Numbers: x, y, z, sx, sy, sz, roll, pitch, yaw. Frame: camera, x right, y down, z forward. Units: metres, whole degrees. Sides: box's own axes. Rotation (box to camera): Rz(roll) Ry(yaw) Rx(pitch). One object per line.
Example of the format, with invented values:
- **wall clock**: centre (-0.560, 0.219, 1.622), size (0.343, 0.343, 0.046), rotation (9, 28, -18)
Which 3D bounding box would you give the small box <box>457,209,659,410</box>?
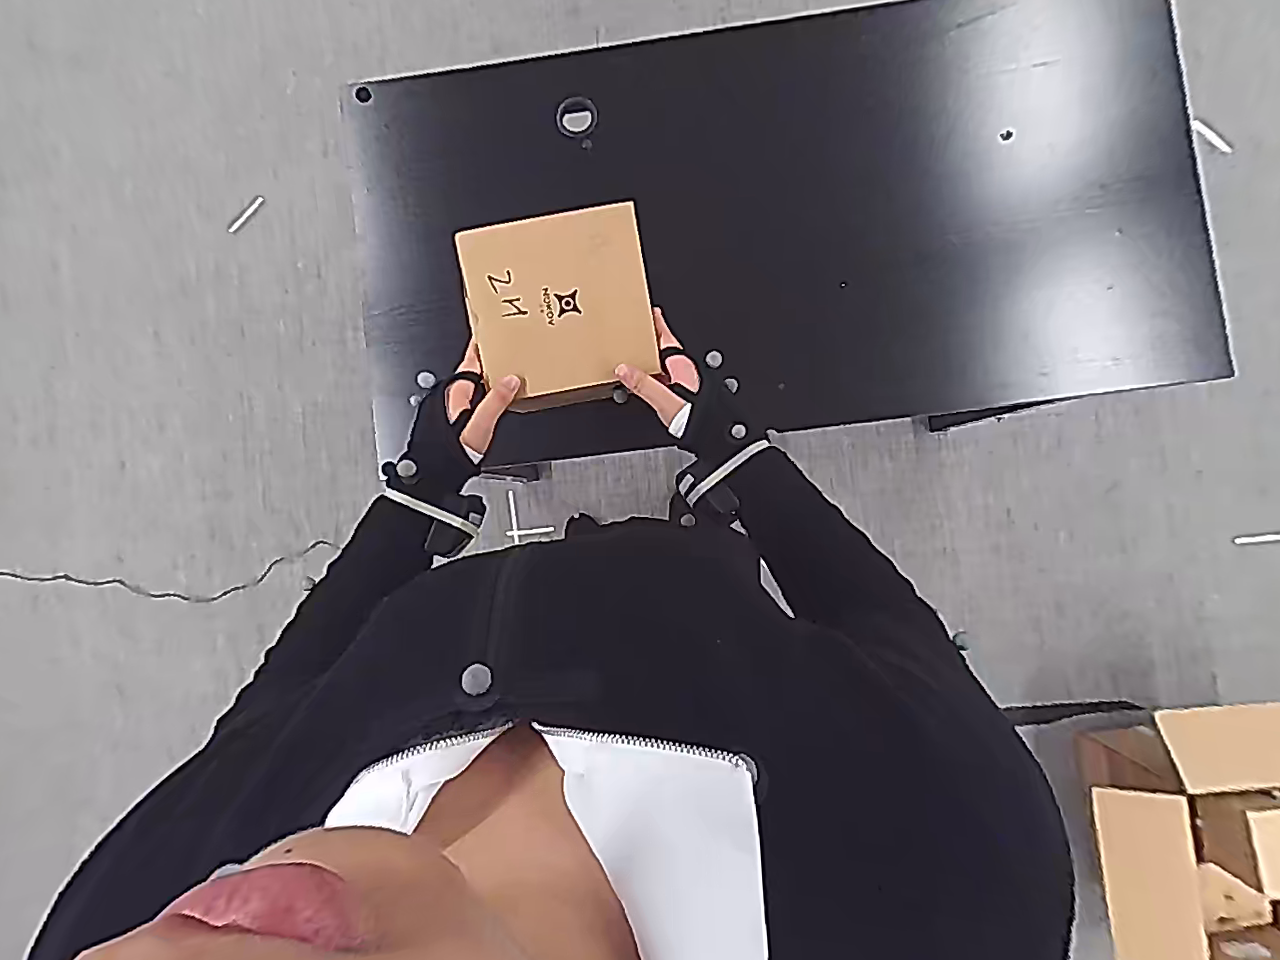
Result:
- **small box**: centre (-0.080, -0.174, 0.605), size (0.179, 0.176, 0.168), rotation (-10, 95, 1)
